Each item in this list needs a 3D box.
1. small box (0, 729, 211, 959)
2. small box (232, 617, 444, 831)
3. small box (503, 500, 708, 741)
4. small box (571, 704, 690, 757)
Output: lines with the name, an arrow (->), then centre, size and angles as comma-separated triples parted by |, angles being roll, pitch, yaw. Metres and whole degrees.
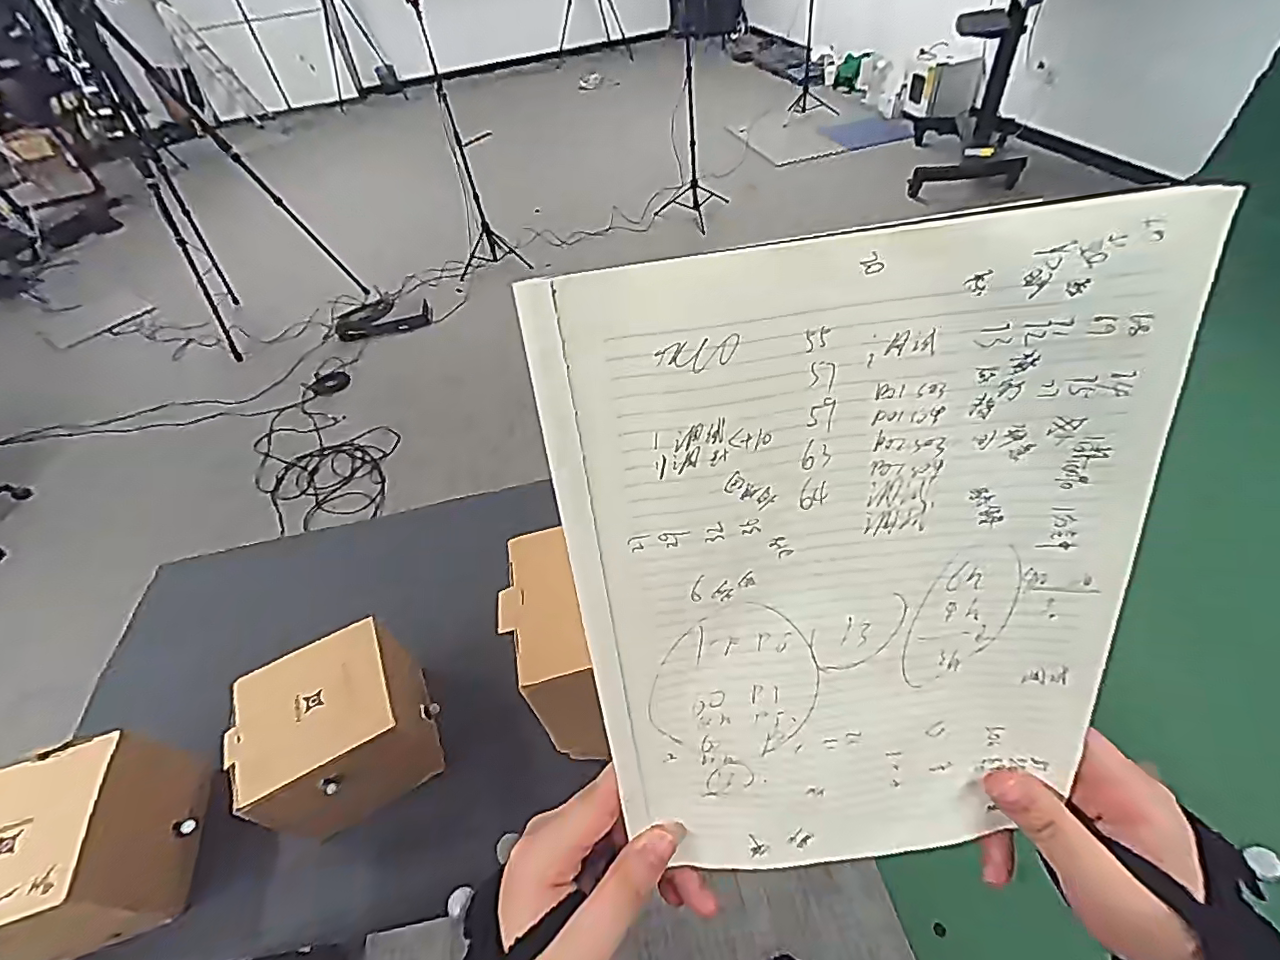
small box -> -0.659, 0.433, 0.641 | 0.168, 0.176, 0.179 | -18, 48, -7
small box -> -0.385, 0.319, 0.704 | 0.179, 0.176, 0.168 | -25, 49, -15
small box -> -0.034, 0.151, 0.576 | 0.179, 0.176, 0.168 | -15, 47, -4
small box -> -0.021, 0.243, 0.711 | 0.168, 0.176, 0.179 | -3, 48, 7
